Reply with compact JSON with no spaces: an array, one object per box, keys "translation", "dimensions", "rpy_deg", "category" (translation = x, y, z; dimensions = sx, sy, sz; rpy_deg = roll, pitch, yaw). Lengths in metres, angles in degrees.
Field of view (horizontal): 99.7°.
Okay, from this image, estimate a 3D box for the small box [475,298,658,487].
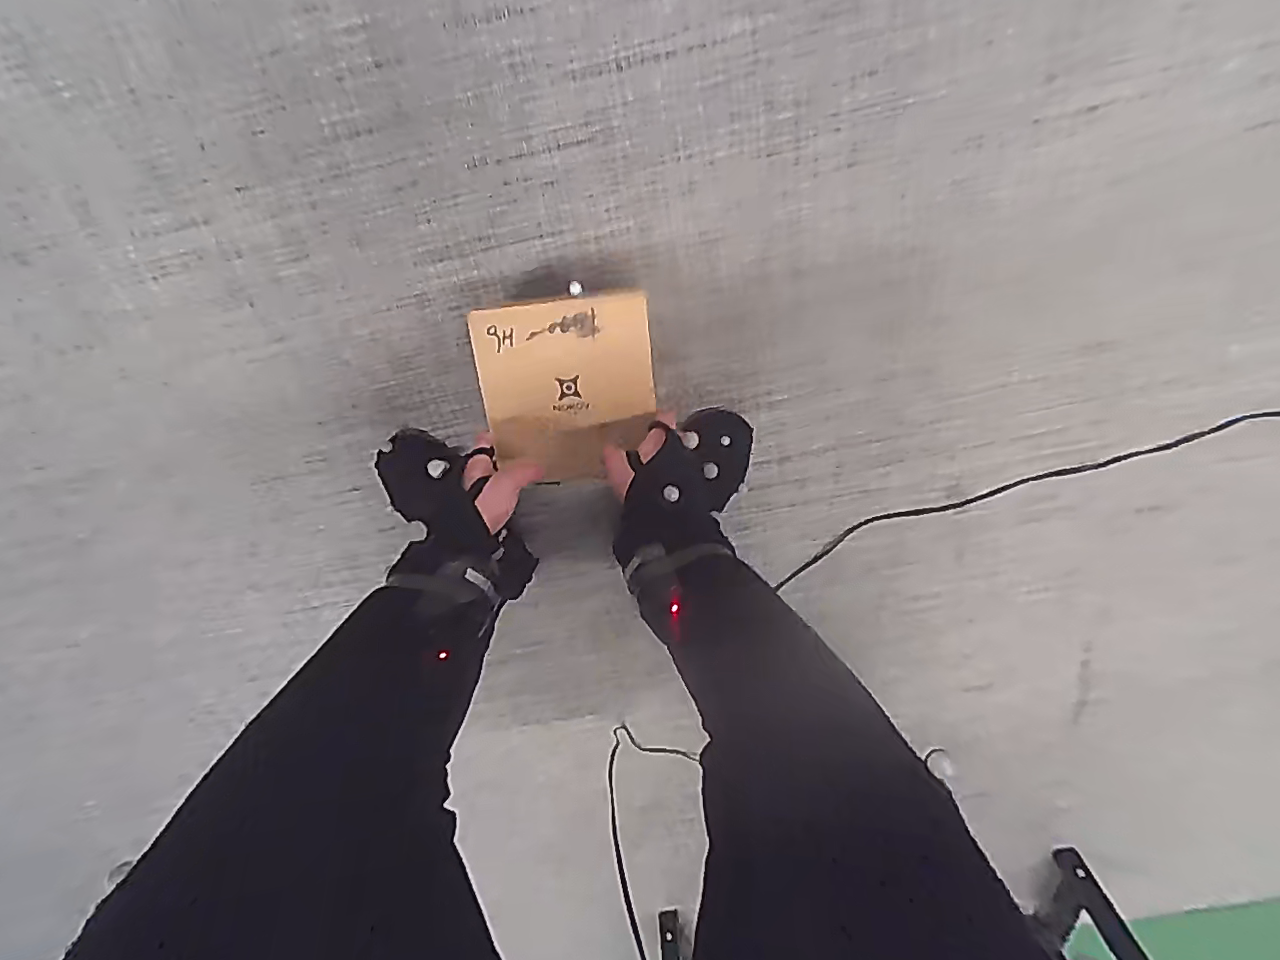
[{"translation":[-0.066,-0.105,0.602],"dimensions":[0.168,0.176,0.179],"rpy_deg":[-4,109,1],"category":"small box"}]
